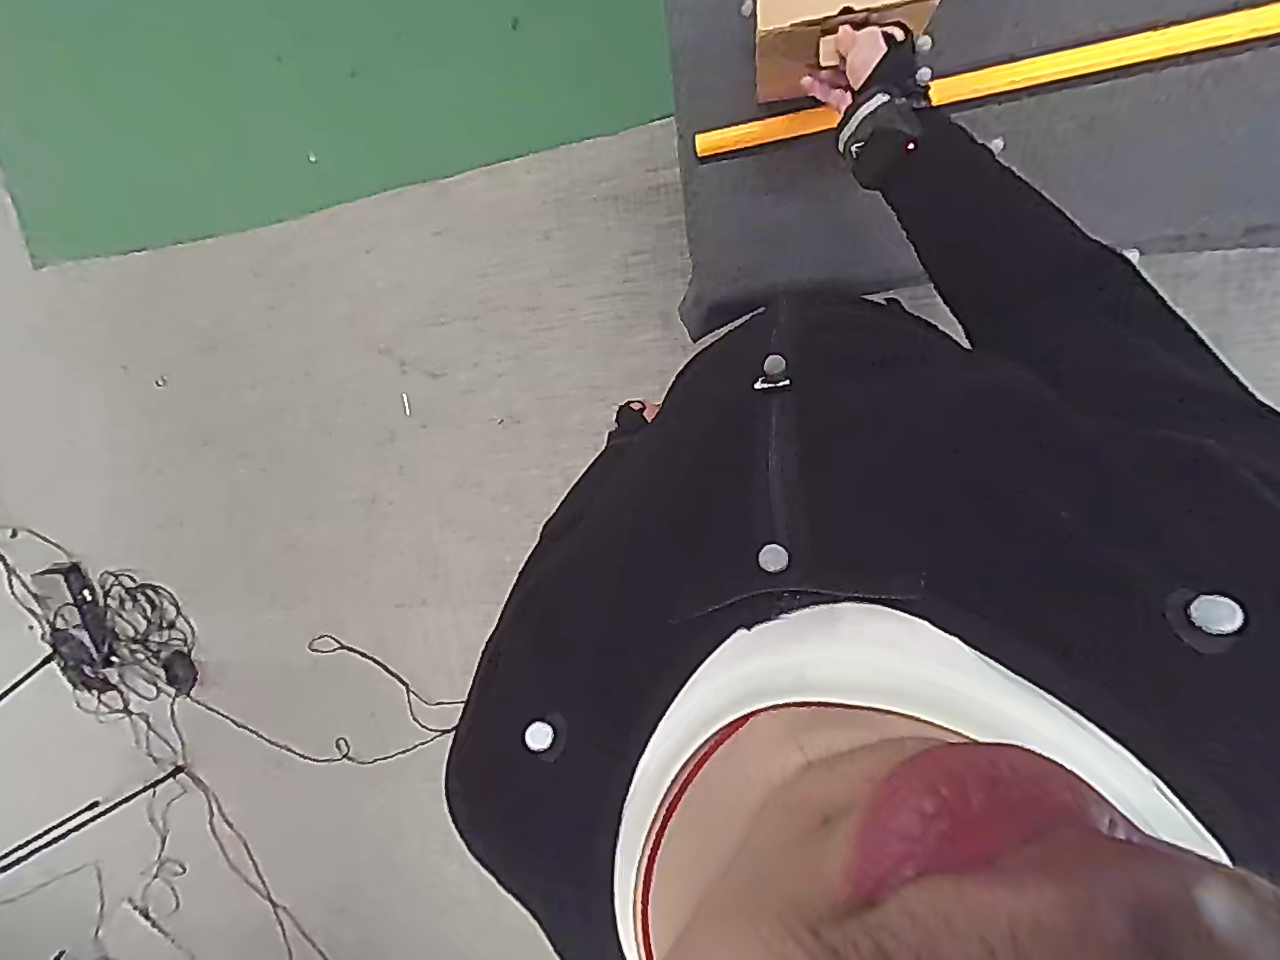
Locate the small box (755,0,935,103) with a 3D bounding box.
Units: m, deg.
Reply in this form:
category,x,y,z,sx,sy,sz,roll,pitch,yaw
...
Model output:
category,x,y,z,sx,sy,sz,roll,pitch,yaw
small box,0.210,-0.537,0.578,0.168,0.176,0.179,-3,104,16
